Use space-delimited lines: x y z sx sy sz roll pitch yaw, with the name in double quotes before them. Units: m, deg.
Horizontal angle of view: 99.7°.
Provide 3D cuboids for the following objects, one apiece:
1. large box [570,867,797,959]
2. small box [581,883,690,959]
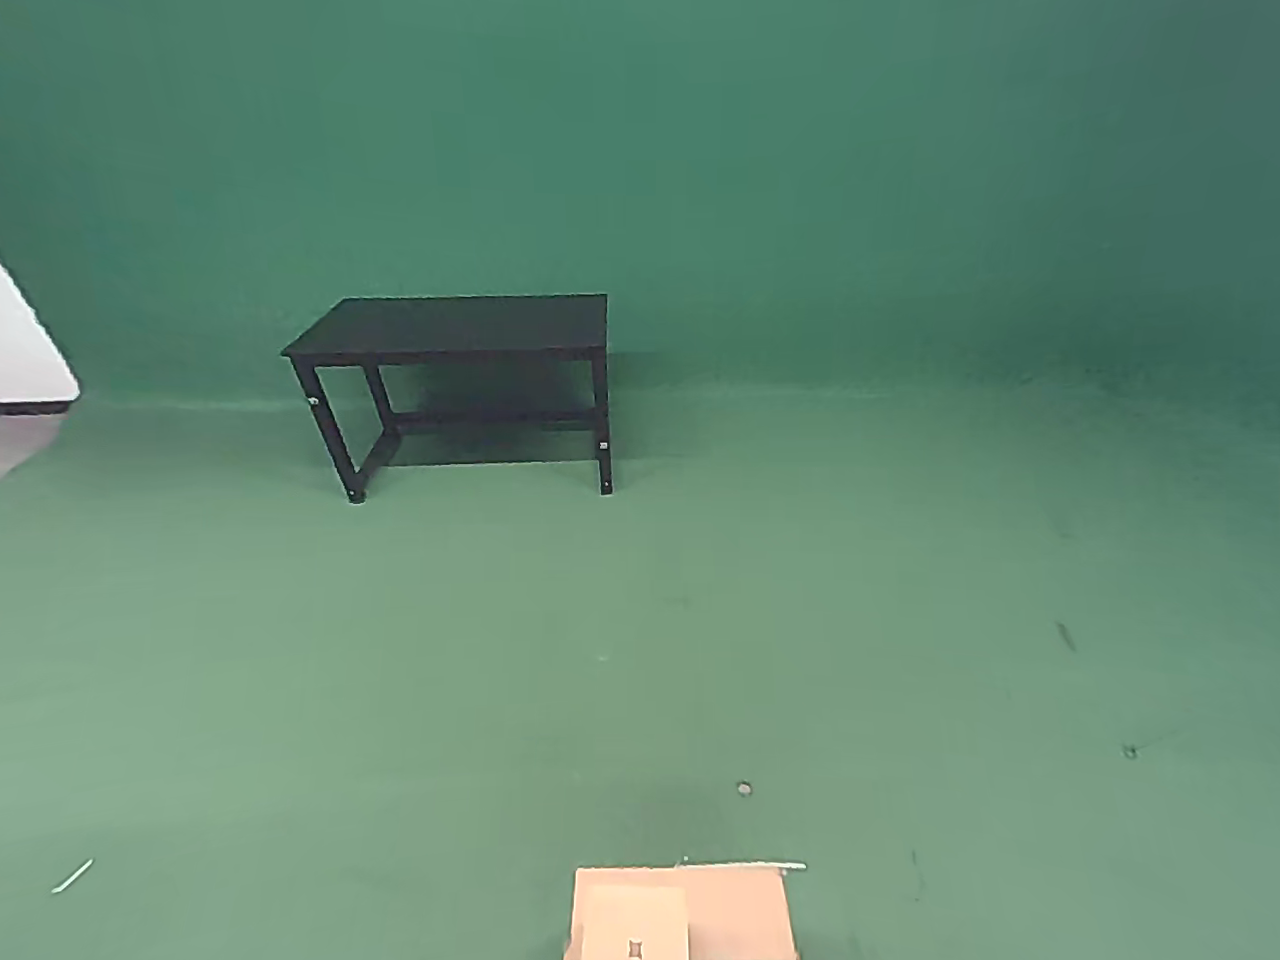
"large box" 0.074 0.966 1.012 0.408 0.320 0.320 0 37 0
"small box" -0.008 0.778 0.858 0.168 0.176 0.179 1 37 2
